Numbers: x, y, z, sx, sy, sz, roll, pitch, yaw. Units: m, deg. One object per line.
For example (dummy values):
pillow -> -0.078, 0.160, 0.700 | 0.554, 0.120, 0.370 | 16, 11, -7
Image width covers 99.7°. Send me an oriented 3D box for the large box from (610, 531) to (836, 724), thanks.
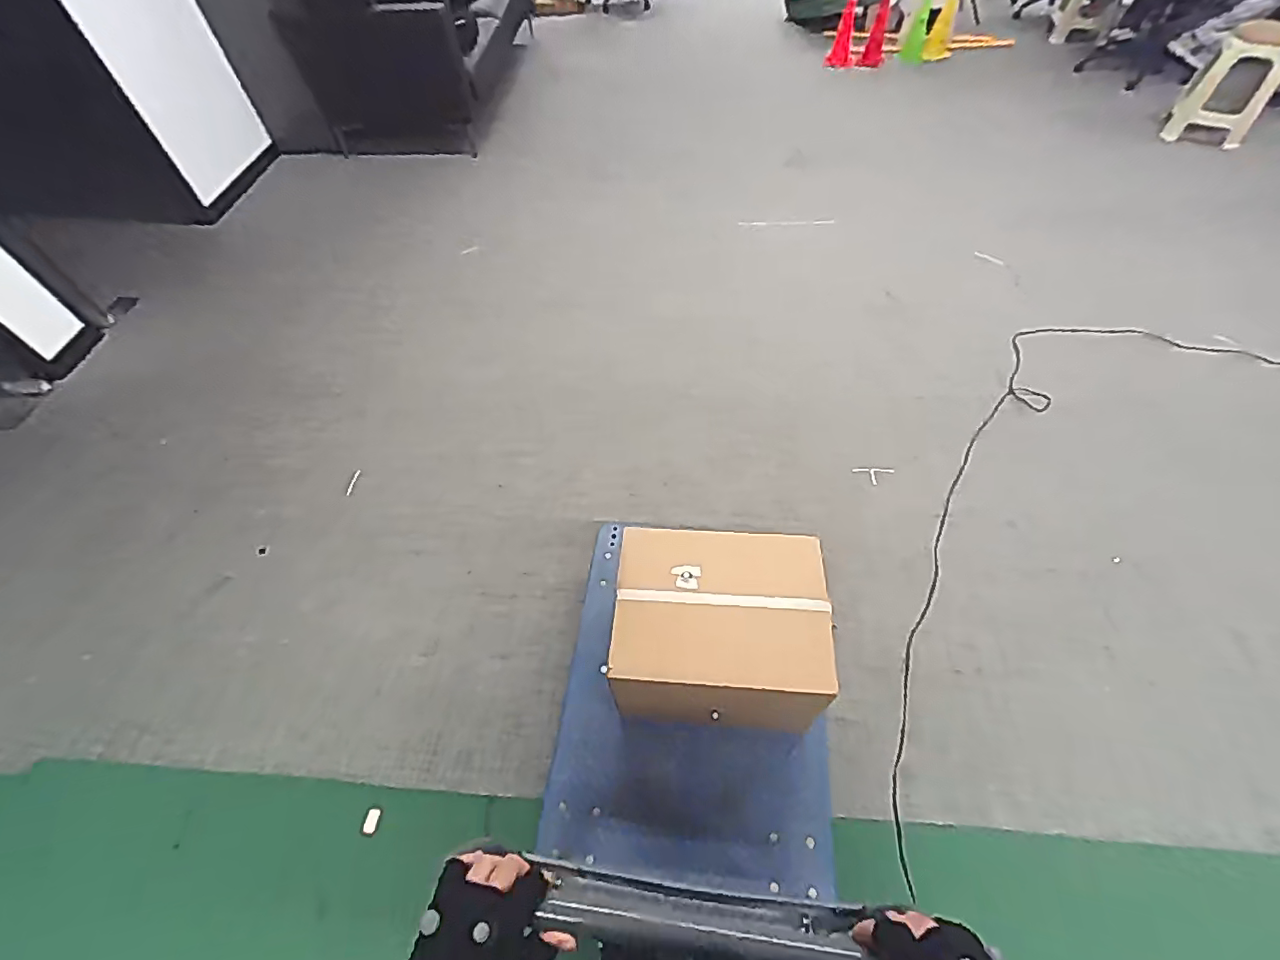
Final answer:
large box -> 0.164, 0.322, 1.158 | 0.408, 0.320, 0.320 | 2, 54, 6
